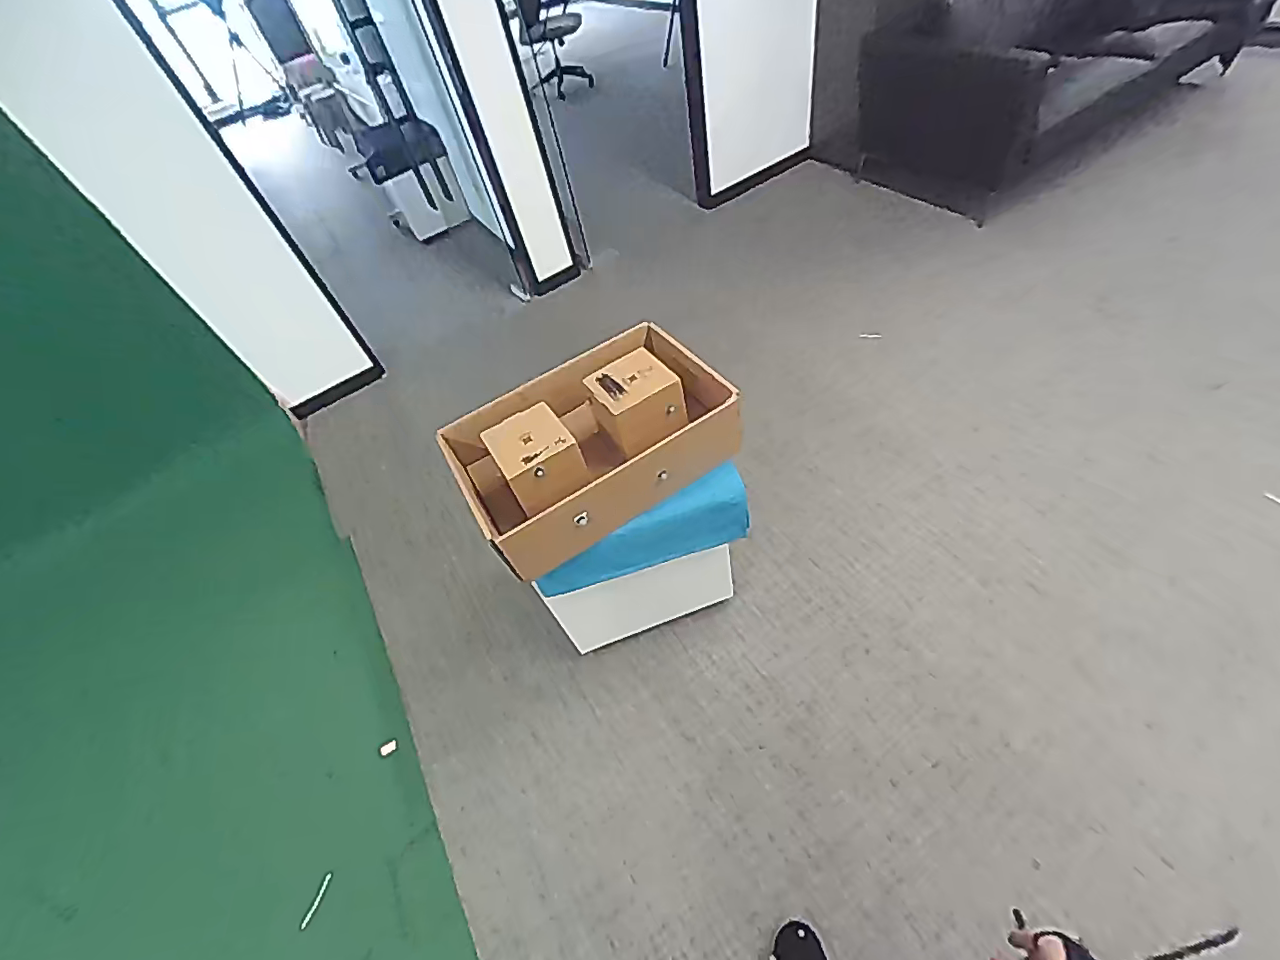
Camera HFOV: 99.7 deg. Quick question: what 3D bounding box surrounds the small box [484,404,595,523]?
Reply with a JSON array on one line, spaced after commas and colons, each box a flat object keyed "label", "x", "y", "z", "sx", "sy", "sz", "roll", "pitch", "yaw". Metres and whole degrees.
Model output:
[{"label": "small box", "x": -0.225, "y": -0.035, "z": 1.229, "sx": 0.168, "sy": 0.176, "sz": 0.179, "roll": -31, "pitch": 50, "yaw": -12}]
